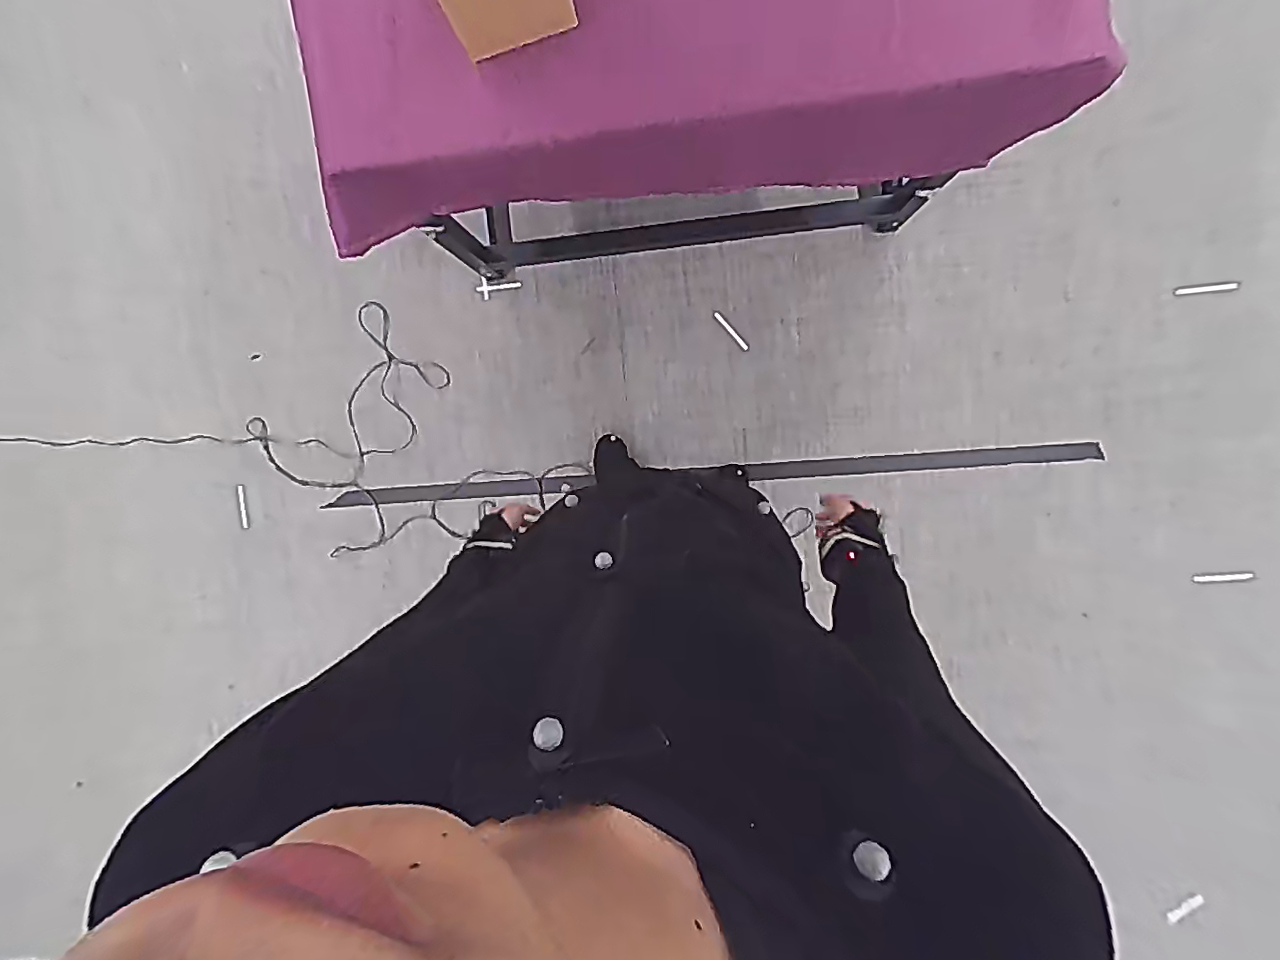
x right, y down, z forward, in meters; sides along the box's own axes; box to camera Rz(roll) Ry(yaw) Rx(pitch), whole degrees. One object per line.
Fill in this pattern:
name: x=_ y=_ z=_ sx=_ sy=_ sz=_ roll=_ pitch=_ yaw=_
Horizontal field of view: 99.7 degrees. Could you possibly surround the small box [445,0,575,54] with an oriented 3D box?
small box: x=-0.205 y=-0.750 z=0.754 sx=0.179 sy=0.176 sz=0.168 roll=-15 pitch=94 yaw=5
